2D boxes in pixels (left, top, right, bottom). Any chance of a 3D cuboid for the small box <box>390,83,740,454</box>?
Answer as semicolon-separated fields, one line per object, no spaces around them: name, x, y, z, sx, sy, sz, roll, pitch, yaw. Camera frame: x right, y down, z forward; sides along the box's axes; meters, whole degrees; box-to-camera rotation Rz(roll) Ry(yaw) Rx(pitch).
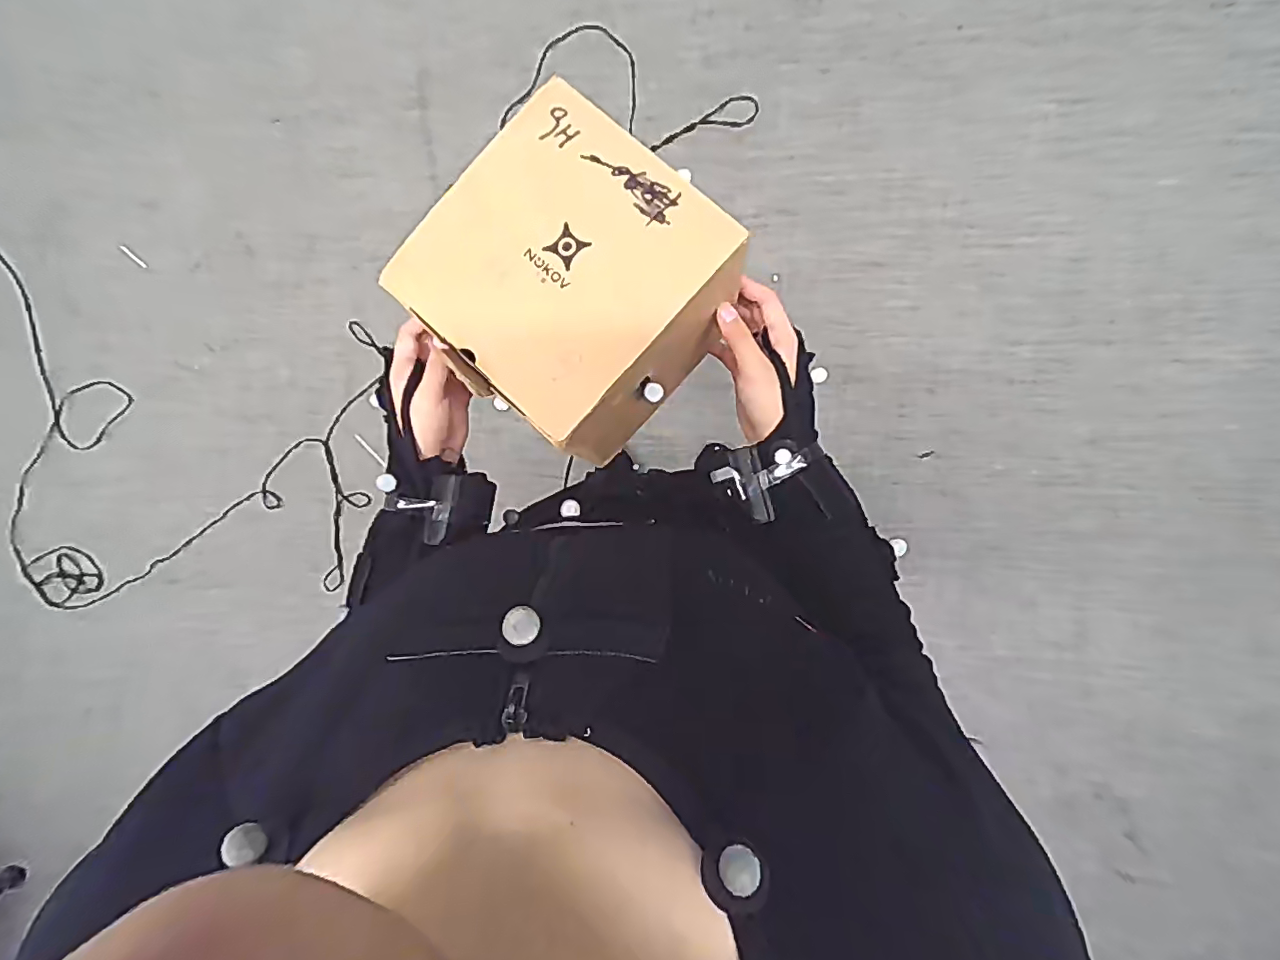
small box;-0.042;-0.137;0.423;0.168;0.176;0.179;42;92;6
